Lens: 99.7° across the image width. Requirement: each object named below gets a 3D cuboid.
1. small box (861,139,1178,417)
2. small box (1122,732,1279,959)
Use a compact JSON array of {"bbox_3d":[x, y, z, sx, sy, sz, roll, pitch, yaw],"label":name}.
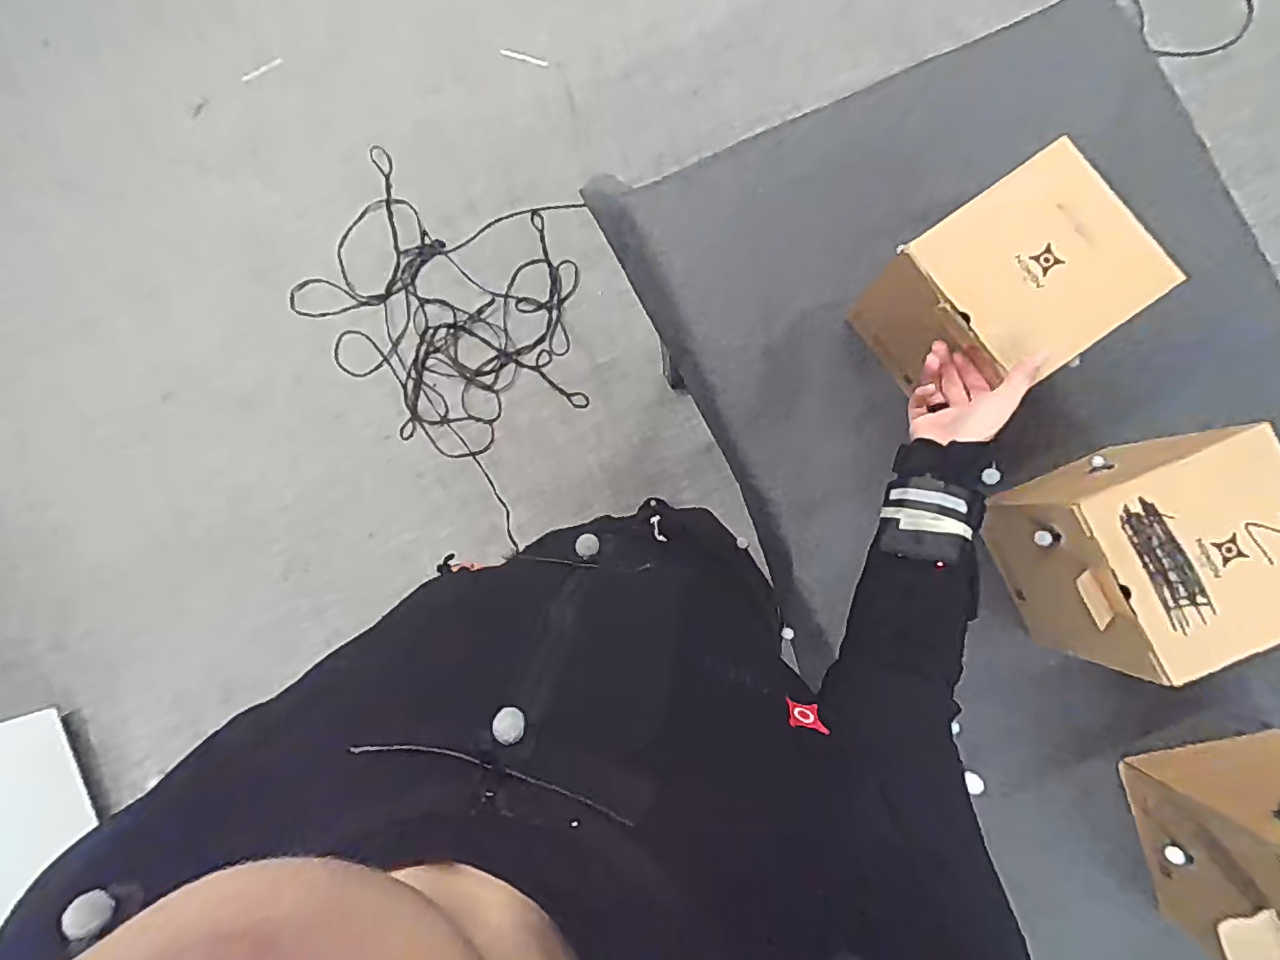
[{"bbox_3d":[0.356,-0.185,0.555,0.179,0.176,0.168,-35,86,-1],"label":"small box"},{"bbox_3d":[0.617,0.357,0.500,0.179,0.176,0.168,-13,85,3],"label":"small box"}]
